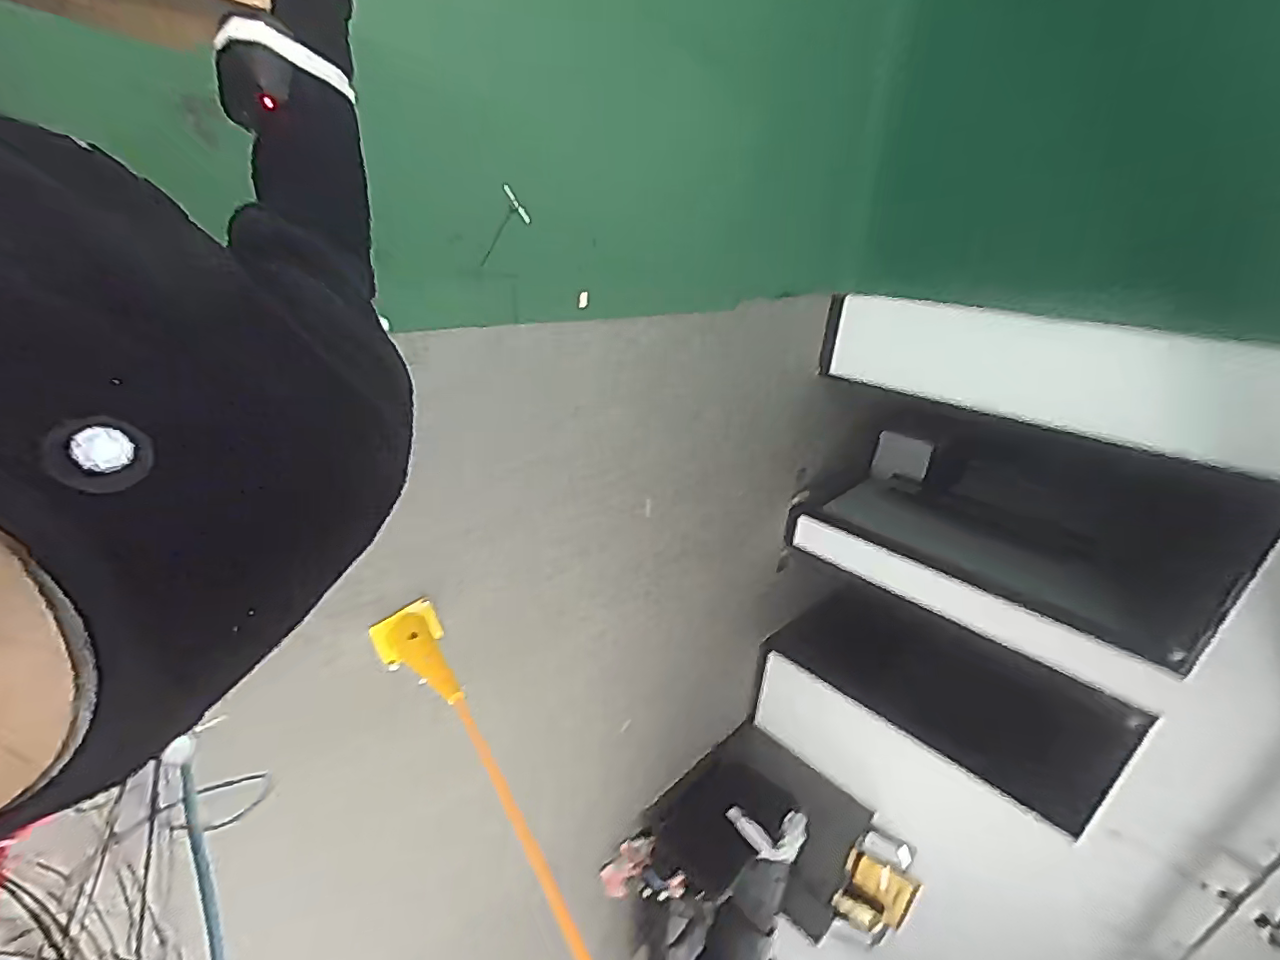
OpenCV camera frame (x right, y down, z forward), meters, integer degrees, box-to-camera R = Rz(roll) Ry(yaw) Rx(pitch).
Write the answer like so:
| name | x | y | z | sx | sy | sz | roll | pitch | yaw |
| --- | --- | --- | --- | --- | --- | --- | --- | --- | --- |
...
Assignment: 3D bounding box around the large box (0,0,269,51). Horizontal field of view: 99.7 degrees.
| name | x | y | z | sx | sy | sz | roll | pitch | yaw |
| --- | --- | --- | --- | --- | --- | --- | --- | --- | --- |
| large box | -0.506 | -0.516 | 0.316 | 0.408 | 0.320 | 0.320 | -14 | 121 | -44 |
